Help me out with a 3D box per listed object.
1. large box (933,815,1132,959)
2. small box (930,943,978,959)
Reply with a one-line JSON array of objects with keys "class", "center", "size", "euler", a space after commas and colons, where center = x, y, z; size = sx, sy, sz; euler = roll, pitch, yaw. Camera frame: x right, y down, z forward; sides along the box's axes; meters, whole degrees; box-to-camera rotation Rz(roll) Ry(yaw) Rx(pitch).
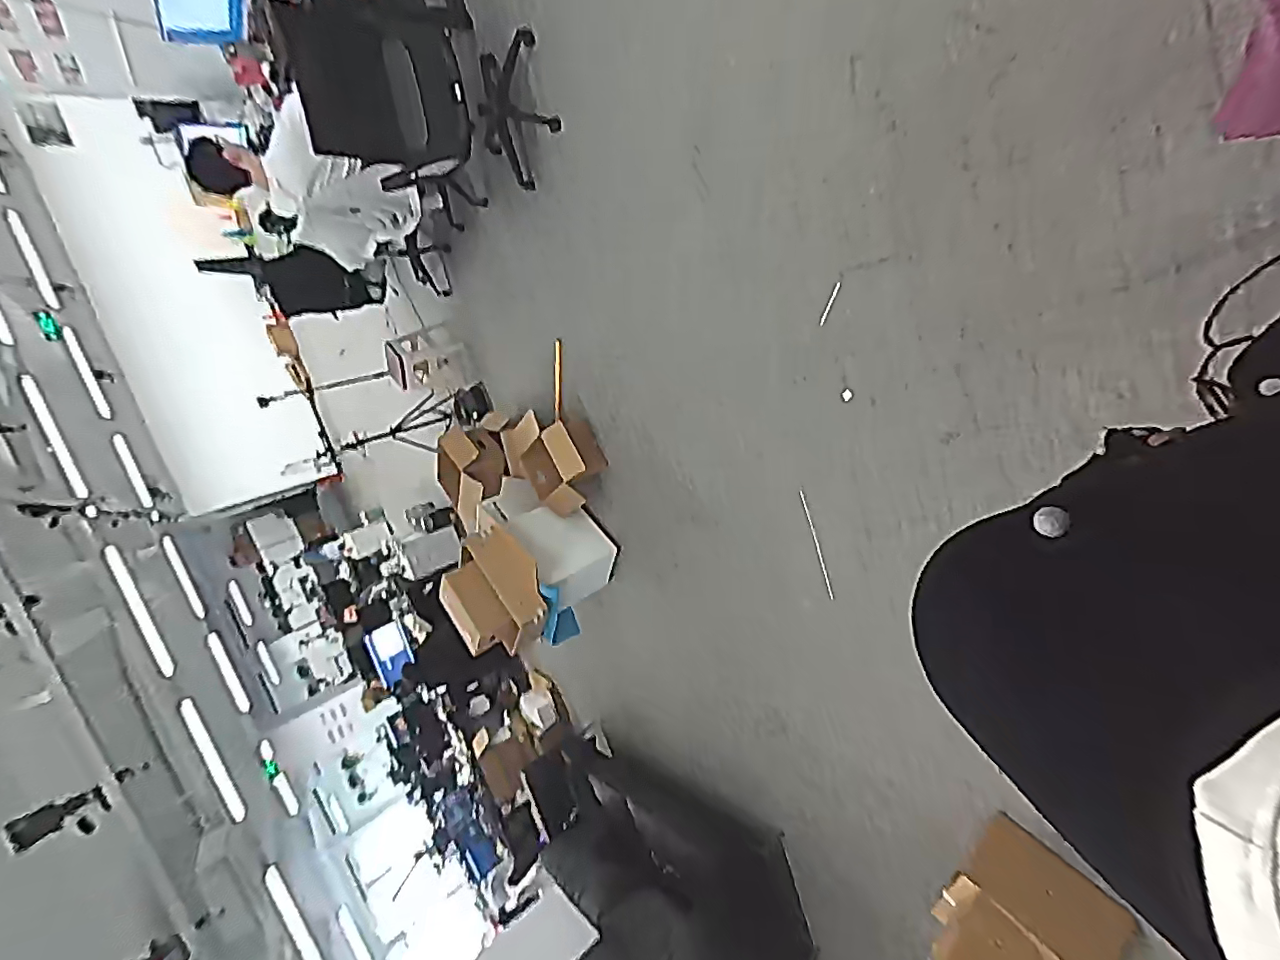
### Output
[{"class": "large box", "center": [1.273, 1.433, 1.780], "size": [0.408, 0.320, 0.320], "euler": [33, 135, 37]}, {"class": "small box", "center": [0.925, 1.490, 1.556], "size": [0.179, 0.176, 0.168], "euler": [36, 135, 34]}]
